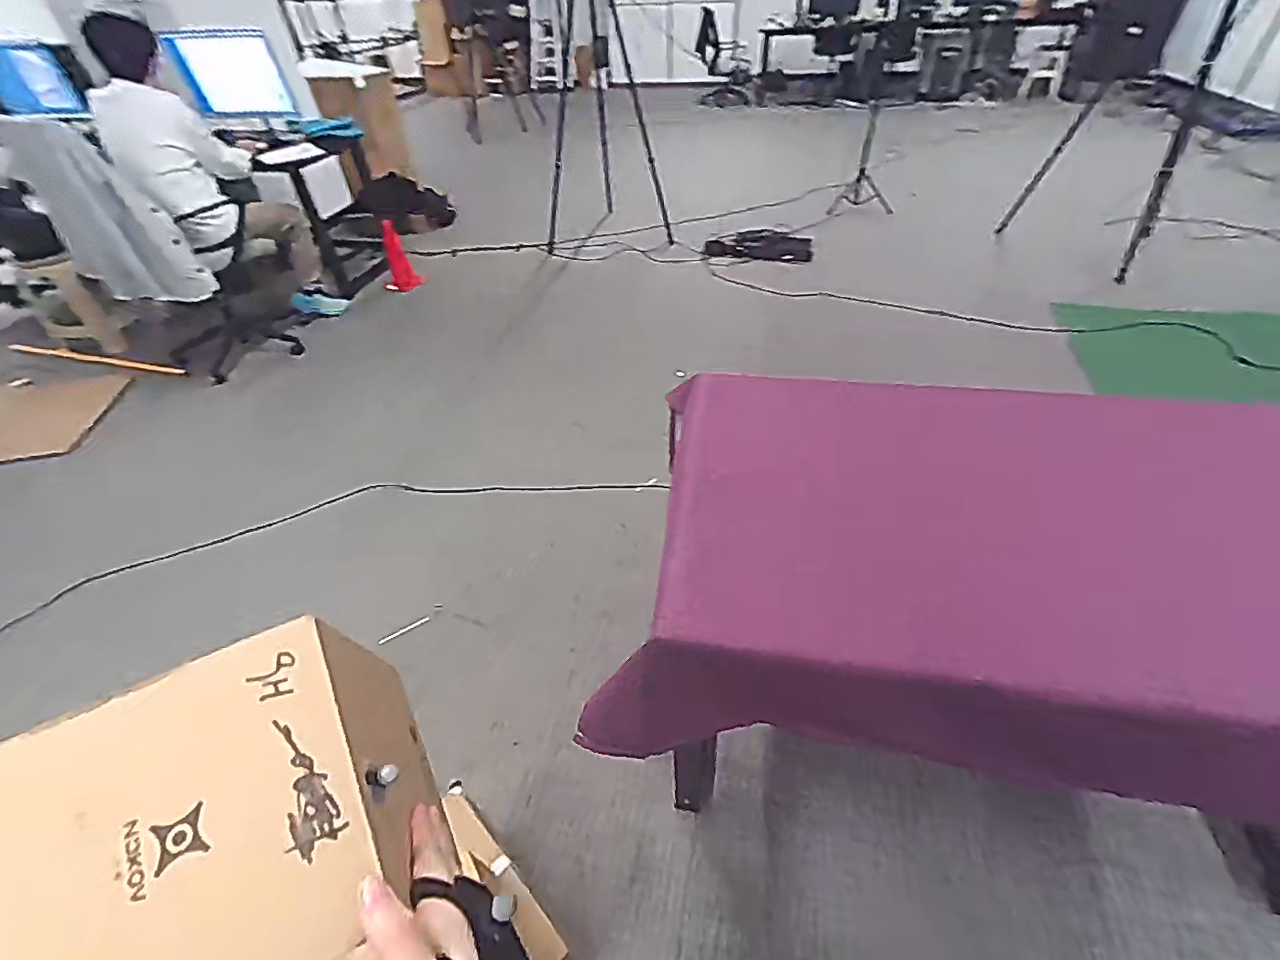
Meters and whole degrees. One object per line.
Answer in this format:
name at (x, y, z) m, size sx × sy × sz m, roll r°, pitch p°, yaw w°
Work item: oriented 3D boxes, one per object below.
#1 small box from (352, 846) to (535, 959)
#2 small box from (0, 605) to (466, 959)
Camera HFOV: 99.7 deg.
small box at (-0.247, 0.636, 0.713) m, size 0.168 × 0.176 × 0.179 m, roll -28°, pitch 53°, yaw -24°
small box at (-0.228, 0.205, 0.325) m, size 0.179 × 0.176 × 0.168 m, roll -23°, pitch 66°, yaw -16°
